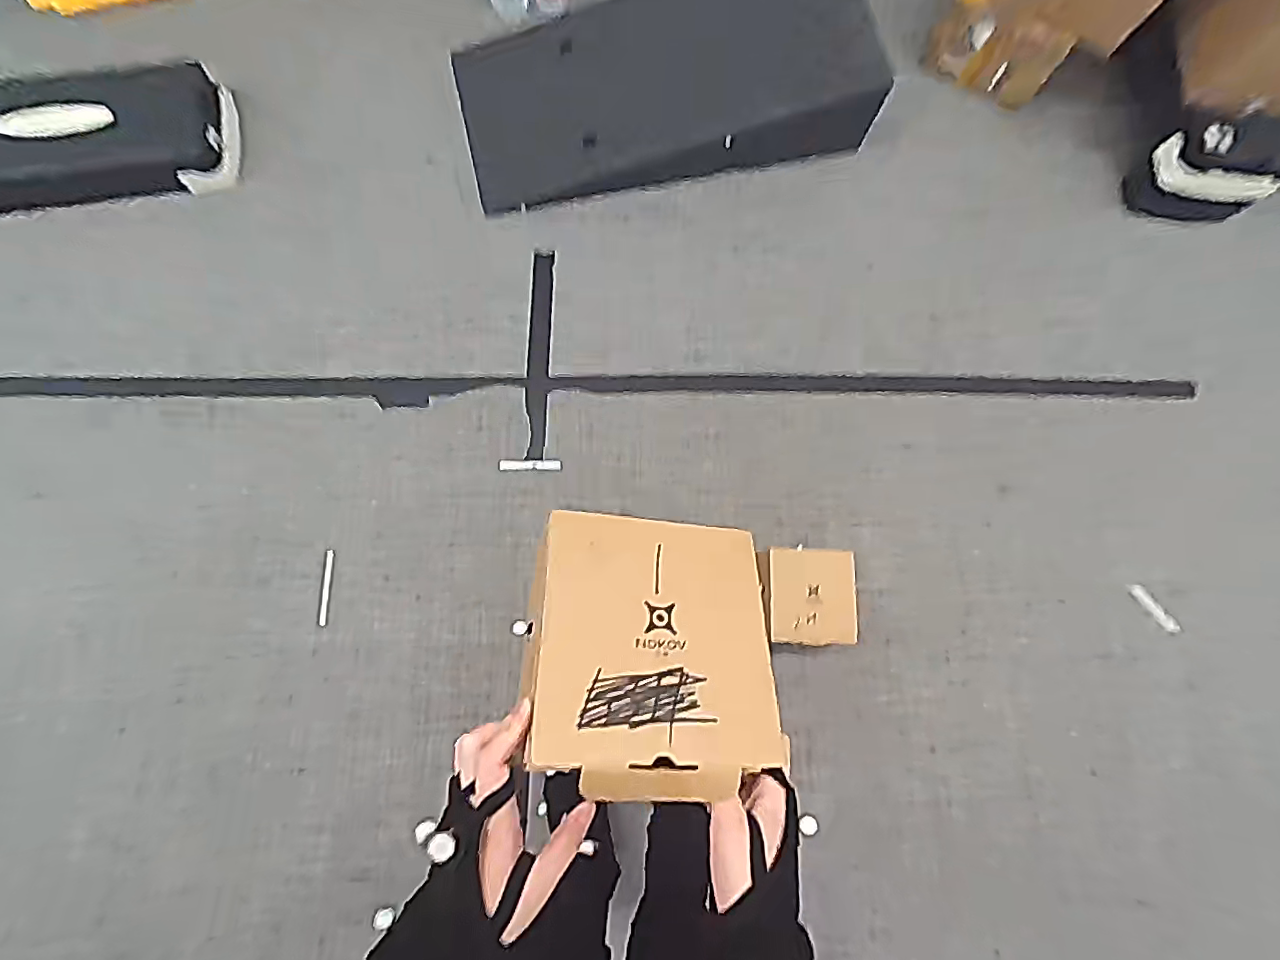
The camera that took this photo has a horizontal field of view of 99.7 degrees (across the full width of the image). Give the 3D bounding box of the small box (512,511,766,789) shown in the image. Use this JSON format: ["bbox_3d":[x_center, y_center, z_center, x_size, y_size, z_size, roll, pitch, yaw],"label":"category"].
[{"bbox_3d":[-0.011,0.142,0.443,0.168,0.176,0.179,8,65,-12],"label":"small box"}]

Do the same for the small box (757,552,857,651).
[{"bbox_3d":[0.321,0.244,1.092,0.168,0.176,0.179,3,78,-2],"label":"small box"}]
